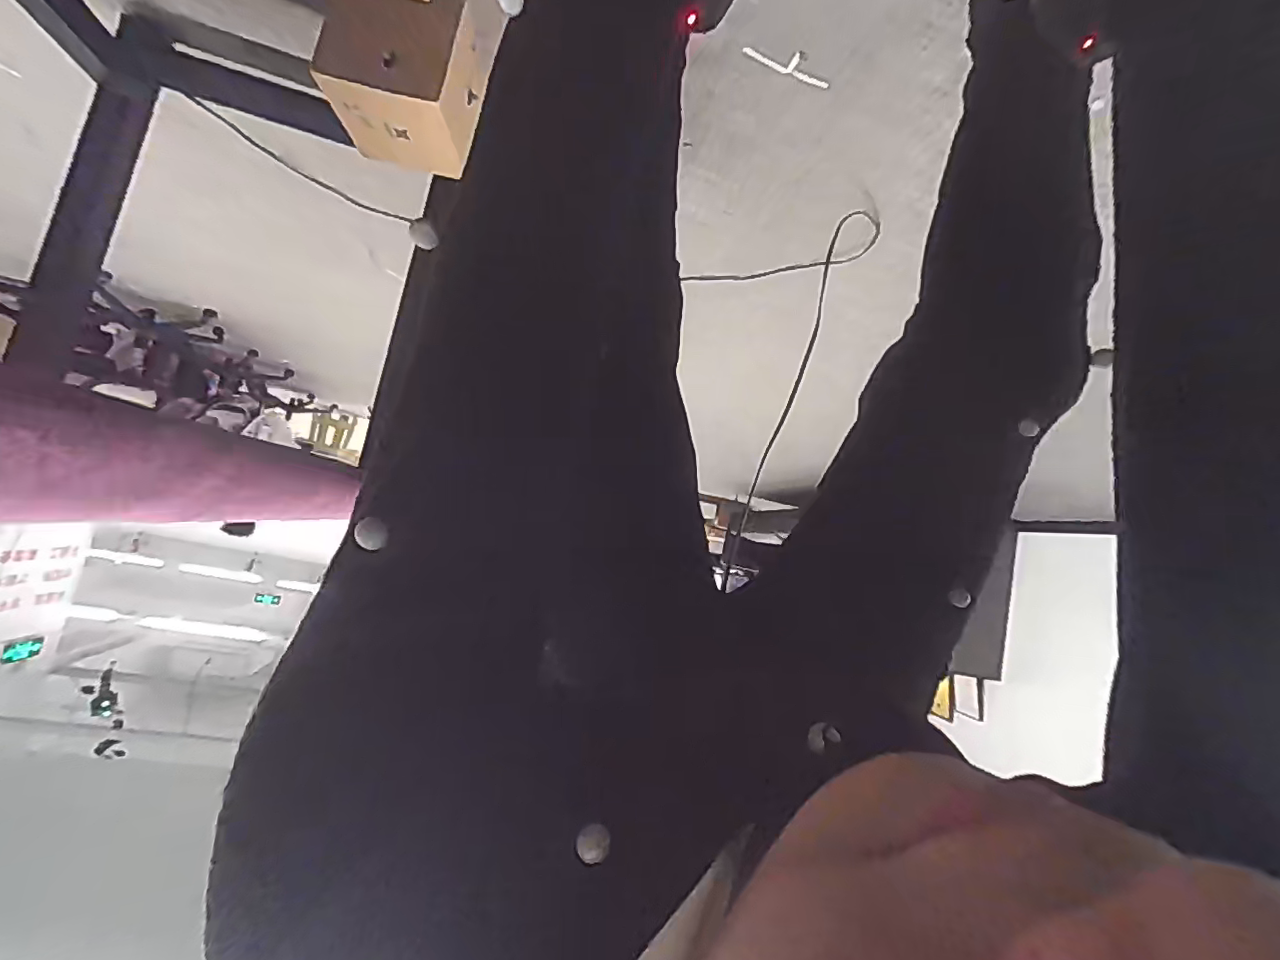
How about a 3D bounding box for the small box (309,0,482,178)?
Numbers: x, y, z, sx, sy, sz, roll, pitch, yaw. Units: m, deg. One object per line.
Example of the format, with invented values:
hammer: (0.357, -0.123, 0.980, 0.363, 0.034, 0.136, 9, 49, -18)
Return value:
small box: (-0.340, -0.589, 0.793, 0.179, 0.176, 0.168, 12, 173, -4)
